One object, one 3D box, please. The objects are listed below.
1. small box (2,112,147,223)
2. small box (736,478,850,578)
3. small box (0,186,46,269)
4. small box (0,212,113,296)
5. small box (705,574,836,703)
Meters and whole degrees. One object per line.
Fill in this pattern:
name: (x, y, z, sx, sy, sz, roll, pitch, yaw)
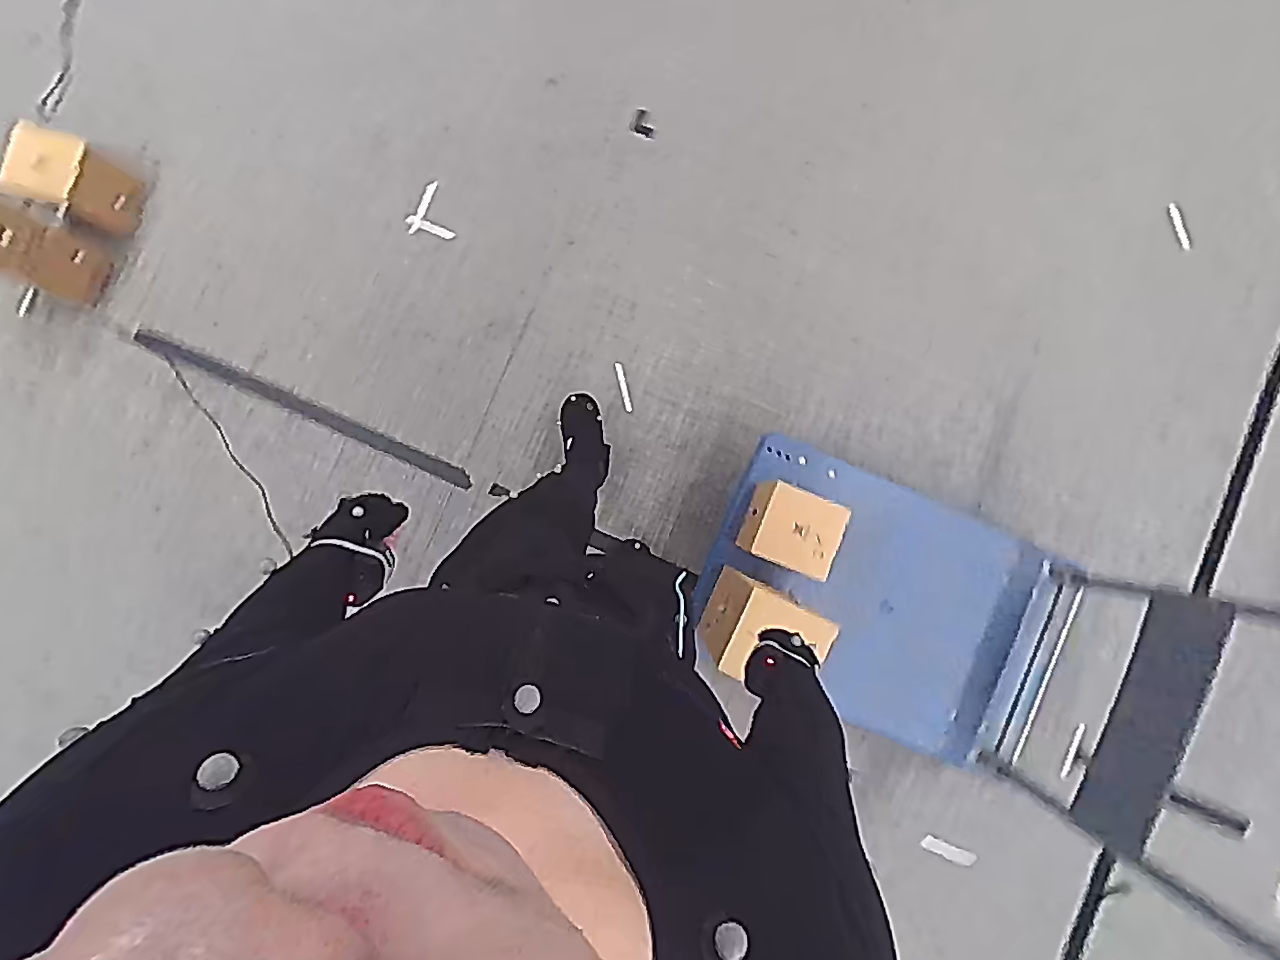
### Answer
small box: (-1.452, -0.798, 1.399, 0.179, 0.176, 0.168, 15, 88, -2)
small box: (0.338, 0.105, 1.234, 0.179, 0.176, 0.168, 23, 89, -2)
small box: (-1.534, -0.604, 1.227, 0.179, 0.176, 0.168, 15, 87, -2)
small box: (-1.533, -0.596, 1.392, 0.179, 0.176, 0.168, 19, 88, 0)
small box: (0.246, 0.299, 1.063, 0.179, 0.176, 0.168, 26, 88, 0)
